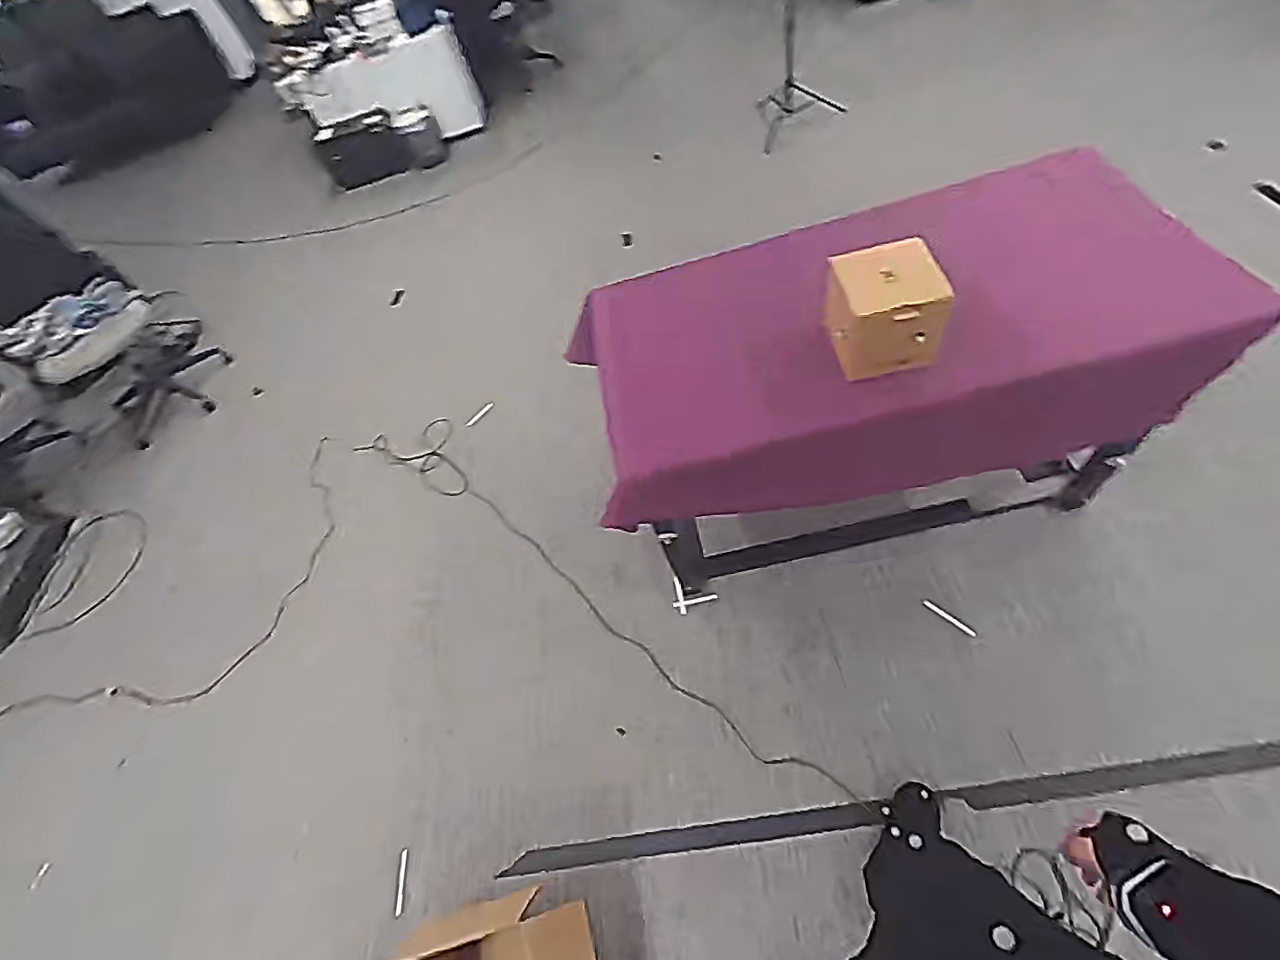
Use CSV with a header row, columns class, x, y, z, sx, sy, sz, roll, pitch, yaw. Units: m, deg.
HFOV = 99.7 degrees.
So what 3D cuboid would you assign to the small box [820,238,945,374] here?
class,x,y,z,sx,sy,sz,roll,pitch,yaw
small box,0.452,-0.323,1.037,0.168,0.176,0.179,-11,56,8
